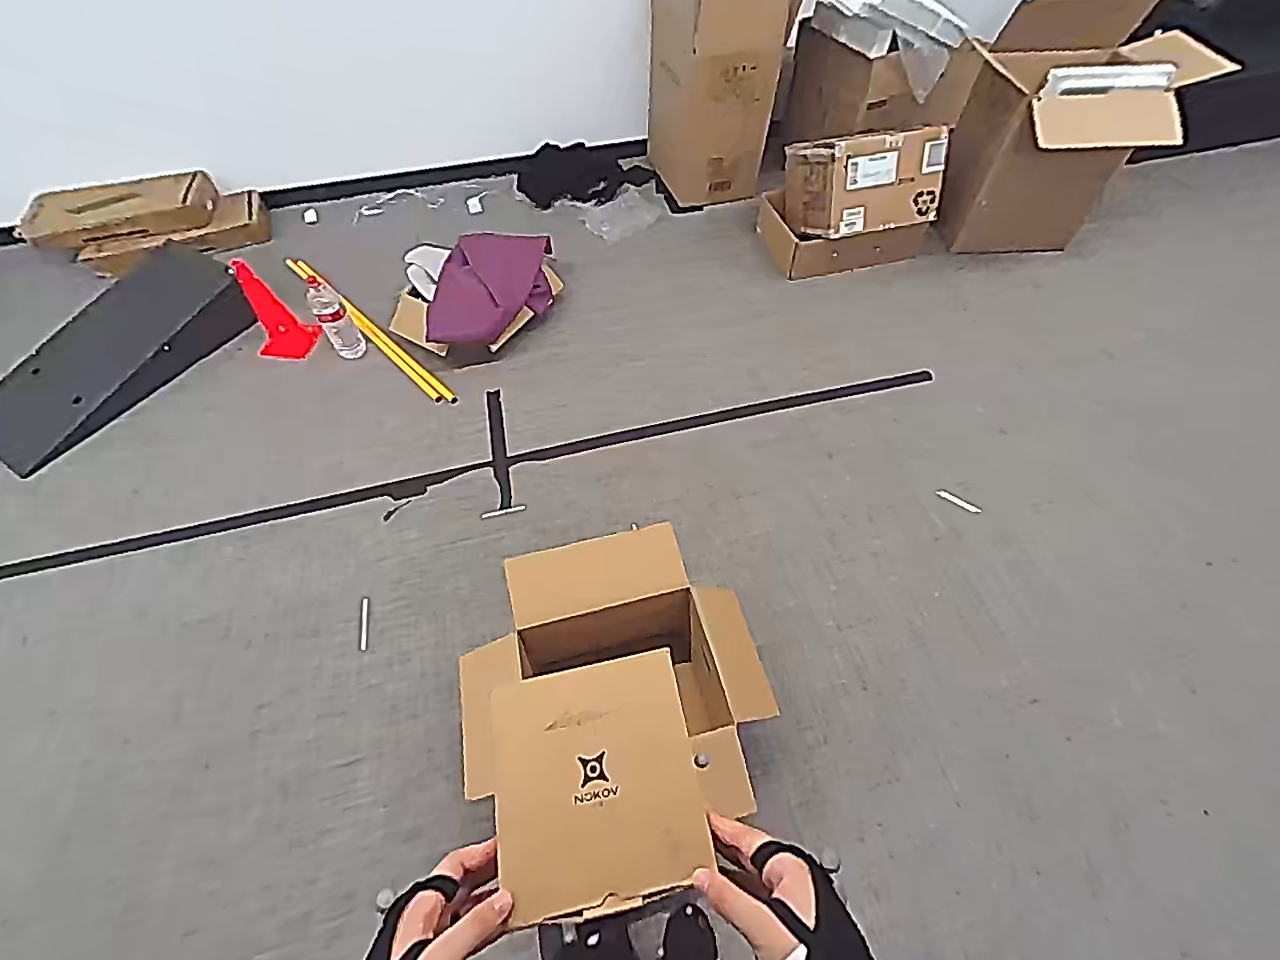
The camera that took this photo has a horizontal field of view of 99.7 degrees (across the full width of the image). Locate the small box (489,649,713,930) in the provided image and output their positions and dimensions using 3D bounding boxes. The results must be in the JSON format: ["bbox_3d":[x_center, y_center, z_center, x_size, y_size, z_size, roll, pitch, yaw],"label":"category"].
[{"bbox_3d":[-0.033,0.283,0.510,0.168,0.176,0.179,-13,57,-3],"label":"small box"}]
